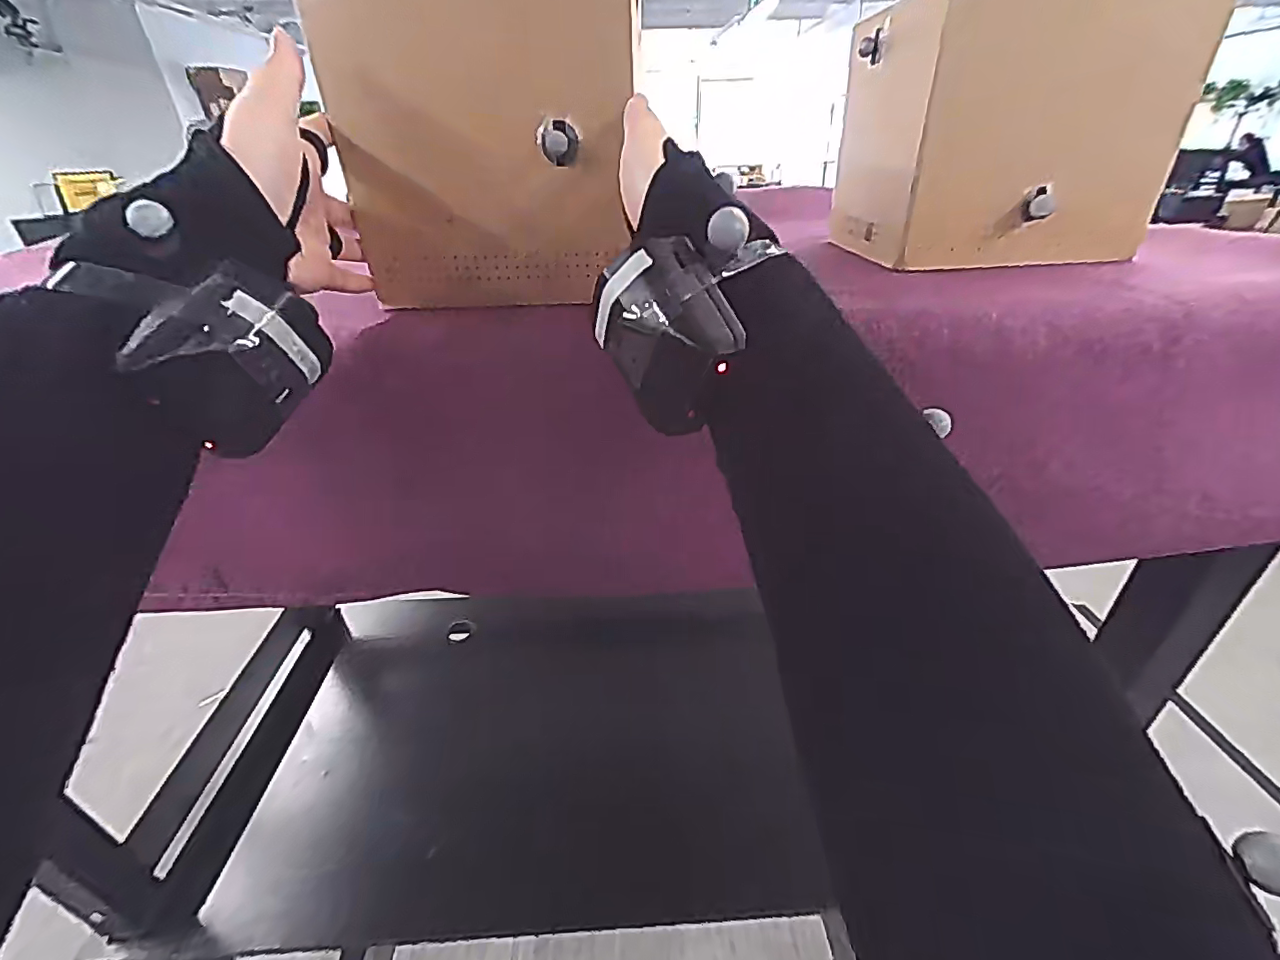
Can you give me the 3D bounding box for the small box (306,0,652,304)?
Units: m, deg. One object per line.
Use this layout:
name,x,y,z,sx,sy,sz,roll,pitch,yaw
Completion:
small box,-0.081,-0.226,0.375,0.179,0.176,0.168,-1,30,3

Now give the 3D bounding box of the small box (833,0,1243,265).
small box,0.269,-0.269,0.417,0.179,0.176,0.168,-2,30,0
